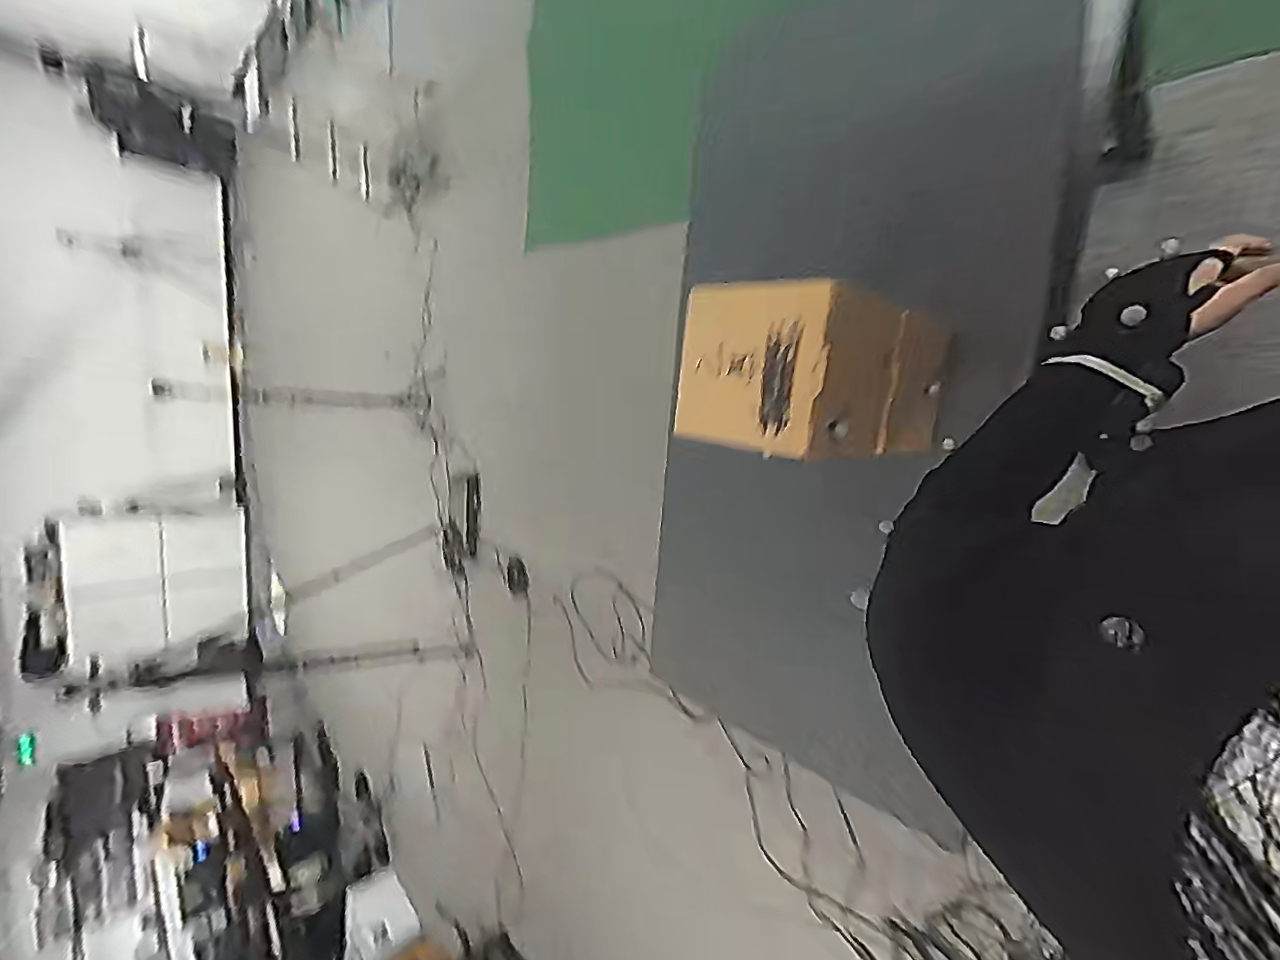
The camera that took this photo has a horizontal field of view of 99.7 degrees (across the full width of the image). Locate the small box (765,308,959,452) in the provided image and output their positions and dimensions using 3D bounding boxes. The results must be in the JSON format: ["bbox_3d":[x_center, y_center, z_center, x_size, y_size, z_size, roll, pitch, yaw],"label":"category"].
[{"bbox_3d":[0.296,-0.130,0.727,0.179,0.176,0.168,13,103,45],"label":"small box"}]
